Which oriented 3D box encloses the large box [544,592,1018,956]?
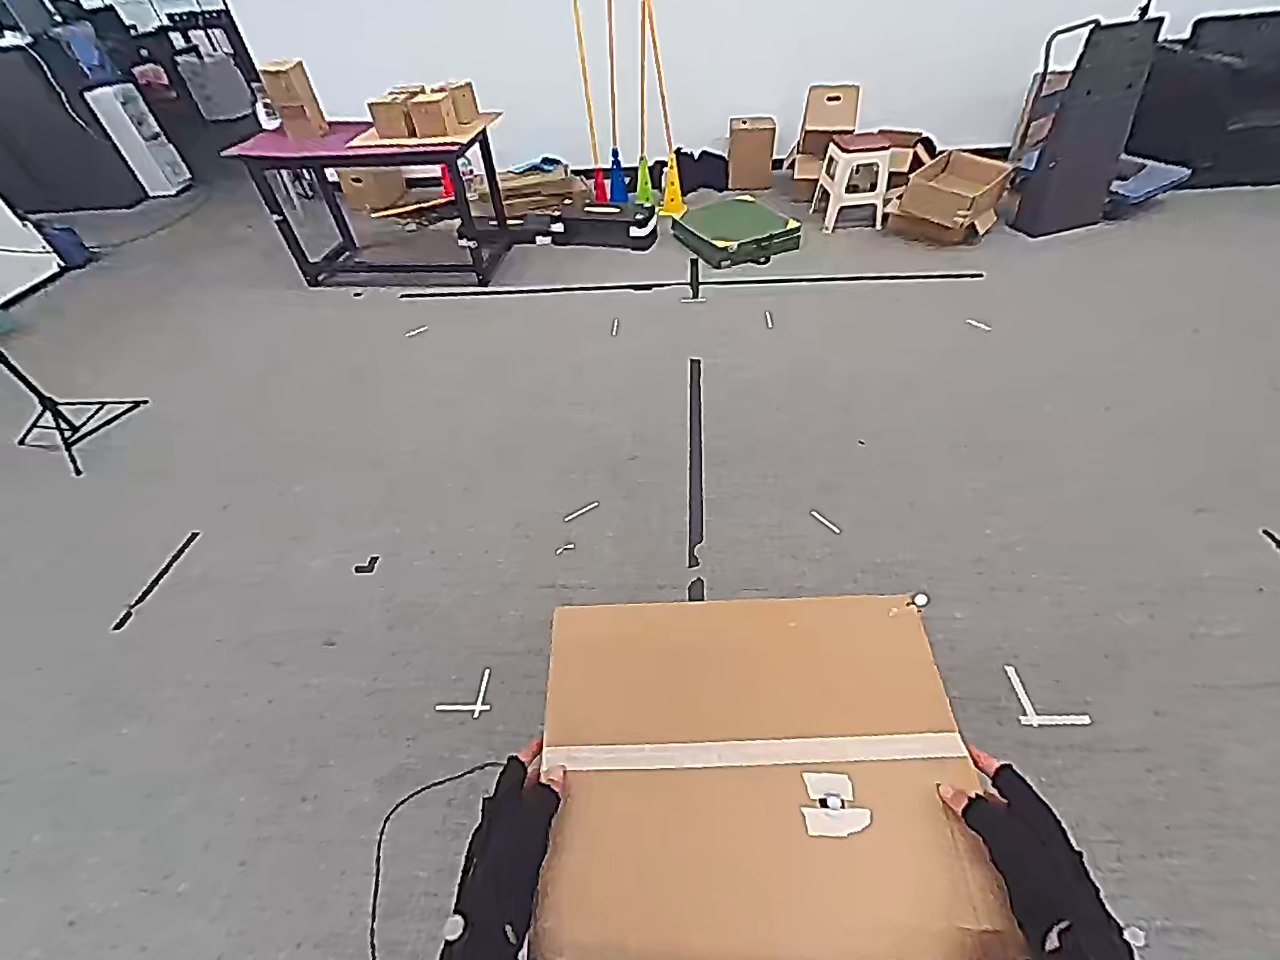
[{"bbox_3d":[0.116,0.350,0.654,0.408,0.320,0.320,-2,54,1],"label":"large box"}]
